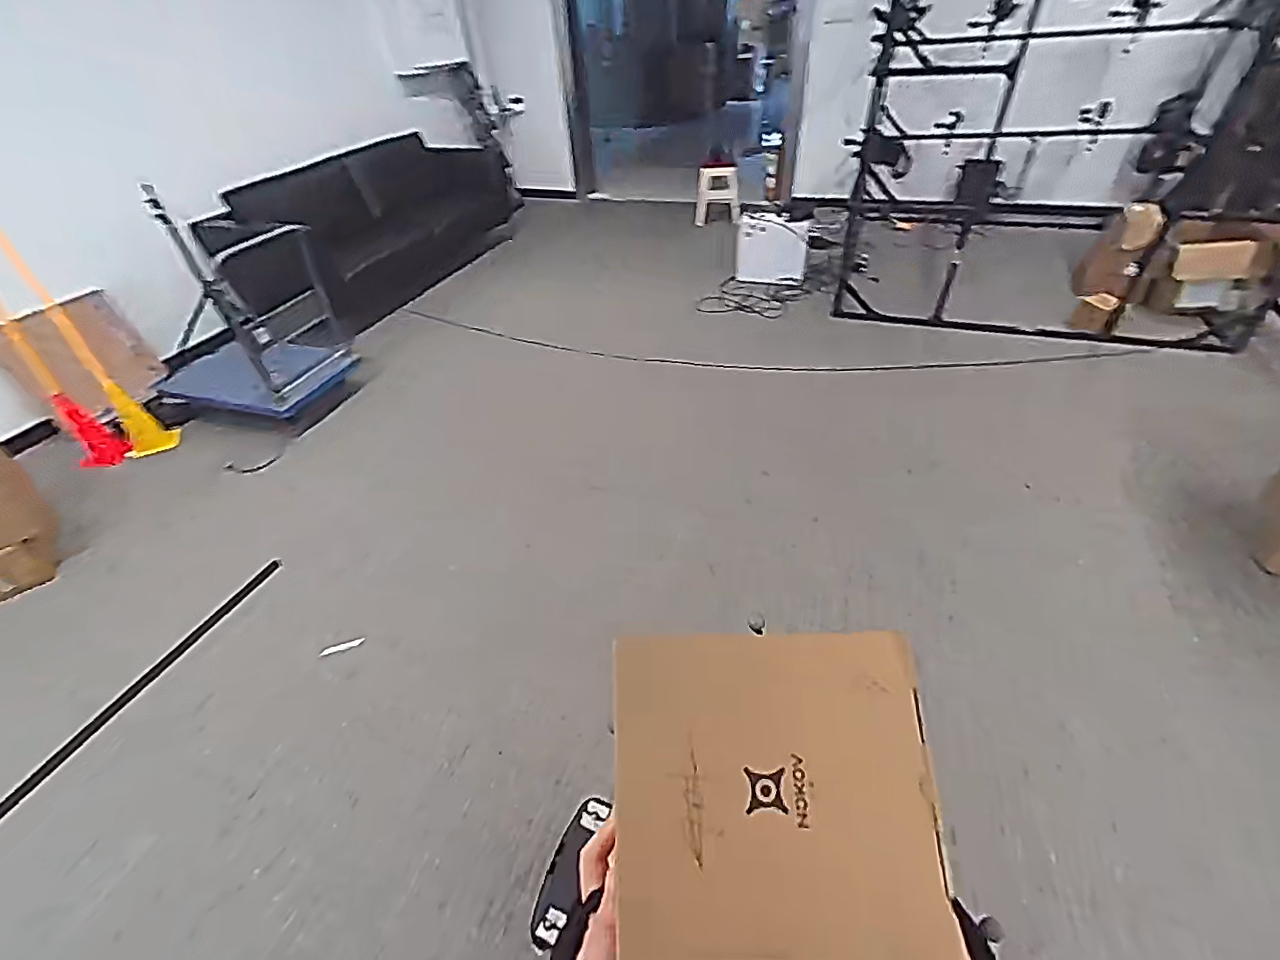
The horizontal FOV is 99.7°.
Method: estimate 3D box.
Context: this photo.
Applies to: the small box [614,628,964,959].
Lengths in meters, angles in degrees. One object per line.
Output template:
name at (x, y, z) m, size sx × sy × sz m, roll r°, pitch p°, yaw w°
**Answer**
small box at (0.075, 0.186, 0.365) m, size 0.179 × 0.176 × 0.168 m, roll -2°, pitch 74°, yaw 2°
